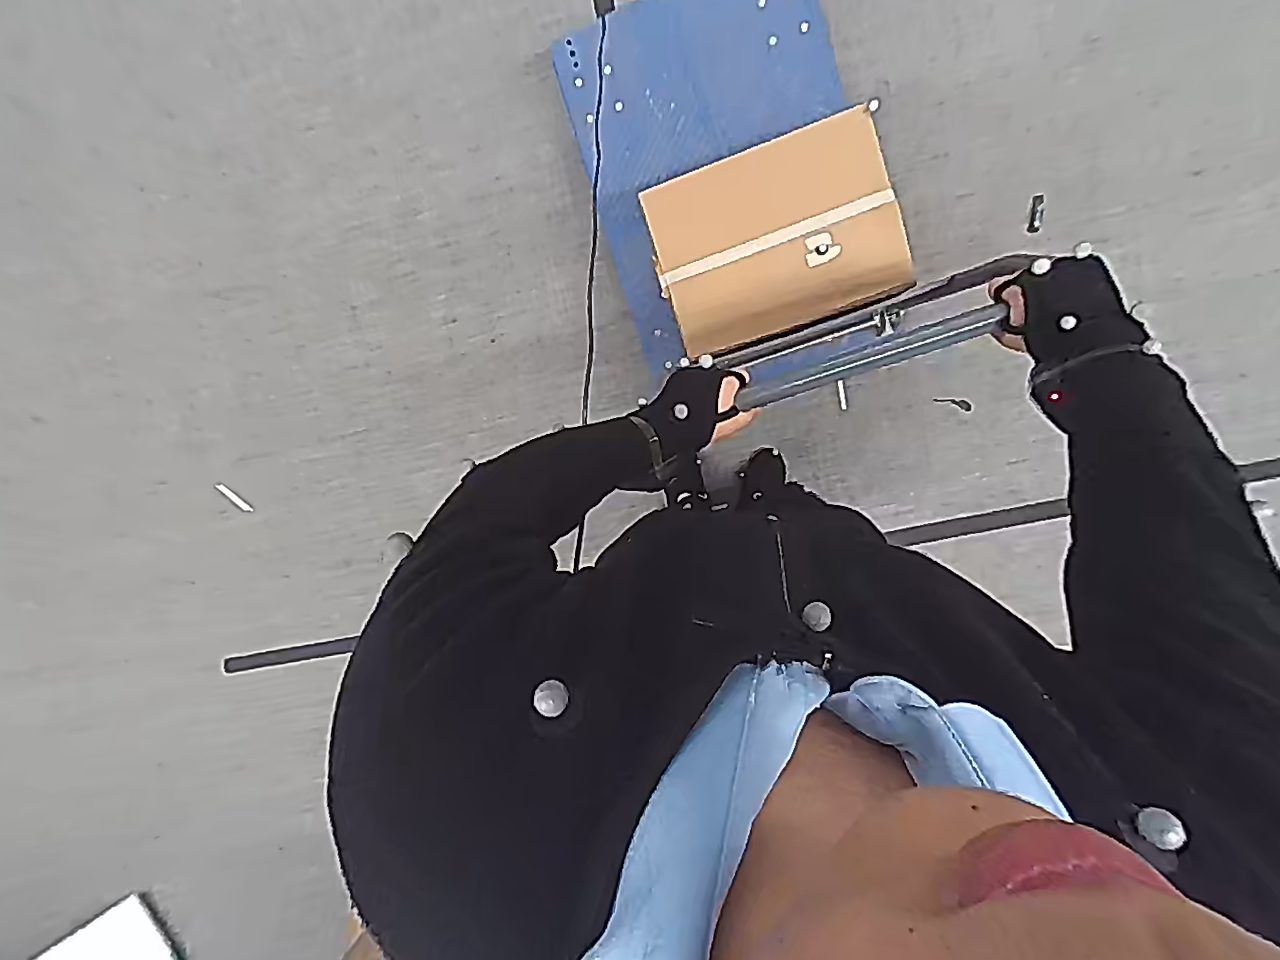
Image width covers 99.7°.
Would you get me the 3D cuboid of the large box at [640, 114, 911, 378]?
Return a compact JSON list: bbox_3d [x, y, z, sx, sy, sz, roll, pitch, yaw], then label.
[{"bbox_3d":[0.247,-0.423,1.085,0.408,0.320,0.320,-18,96,8],"label":"large box"}]
